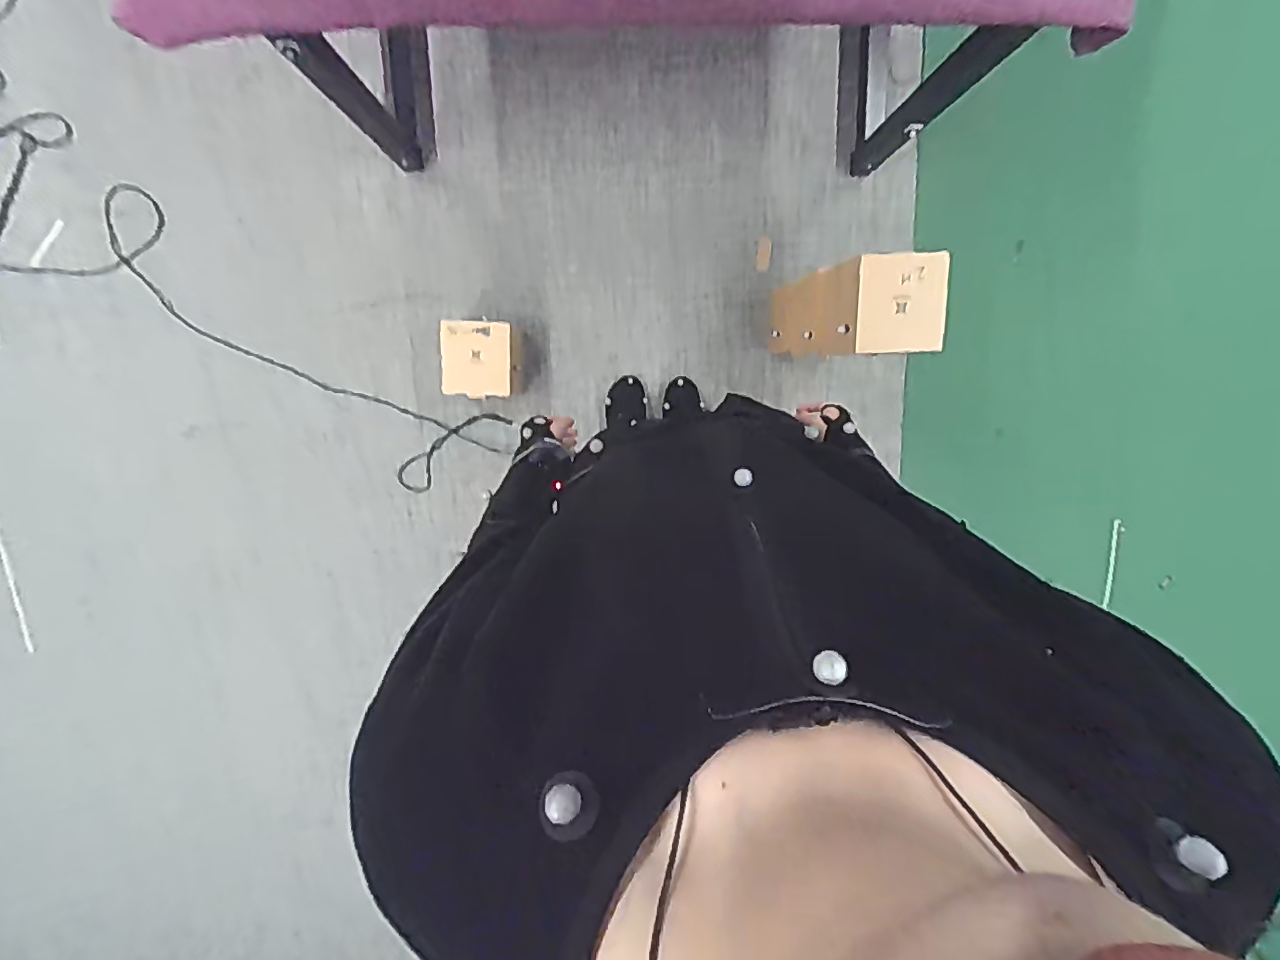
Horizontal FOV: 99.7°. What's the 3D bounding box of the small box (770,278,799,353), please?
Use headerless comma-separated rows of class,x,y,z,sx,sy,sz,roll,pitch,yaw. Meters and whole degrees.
small box,0.436,-0.410,1.373,0.179,0.176,0.168,0,101,-3

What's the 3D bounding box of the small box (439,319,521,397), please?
small box,-0.394,-0.305,1.359,0.168,0.176,0.179,2,101,-3

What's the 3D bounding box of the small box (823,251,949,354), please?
small box,0.469,-0.338,1.056,0.168,0.176,0.179,-2,102,-2

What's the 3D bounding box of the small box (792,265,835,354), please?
small box,0.448,-0.379,1.215,0.168,0.176,0.179,-3,102,-2
